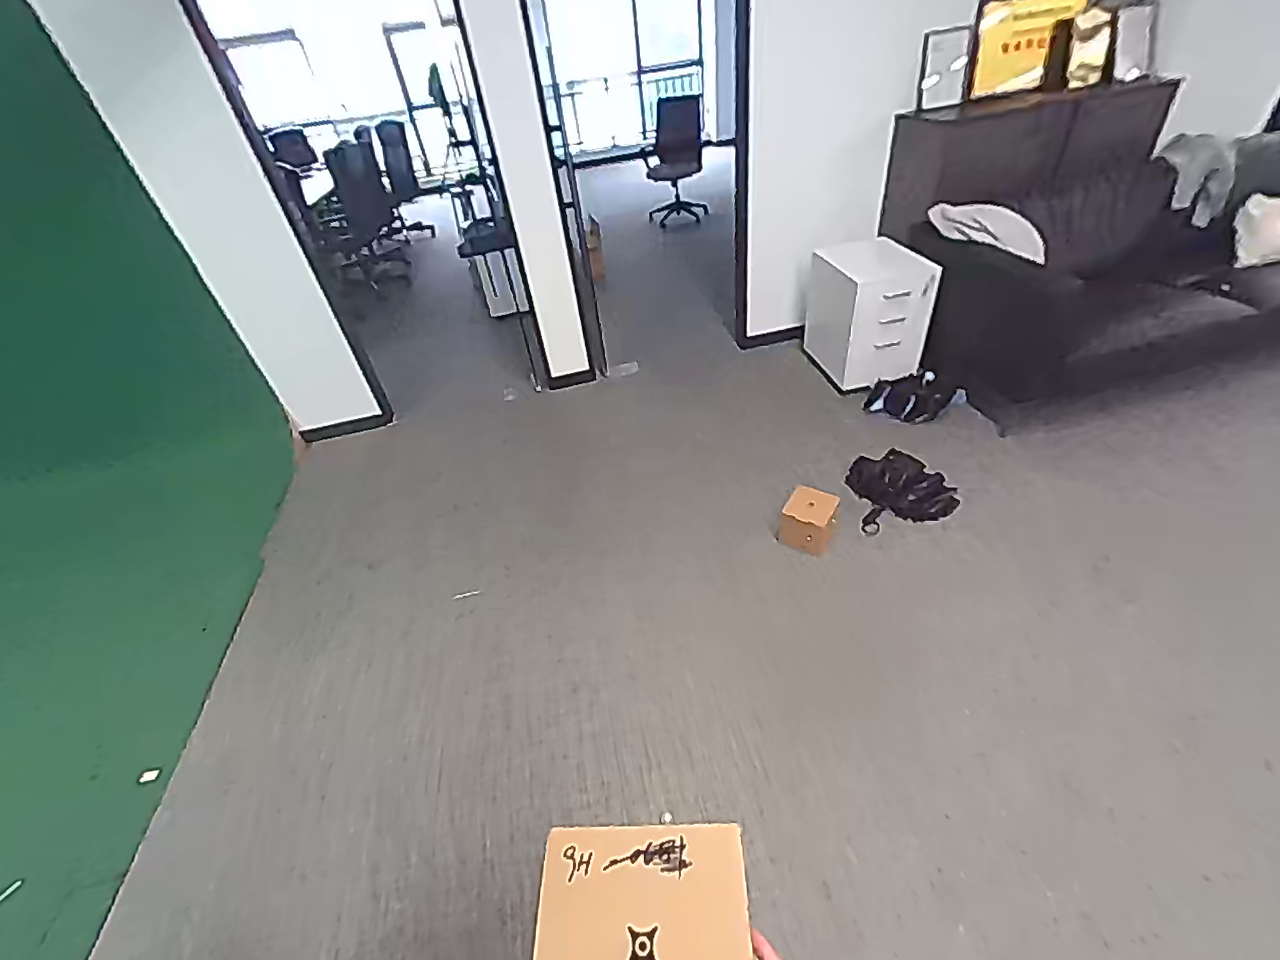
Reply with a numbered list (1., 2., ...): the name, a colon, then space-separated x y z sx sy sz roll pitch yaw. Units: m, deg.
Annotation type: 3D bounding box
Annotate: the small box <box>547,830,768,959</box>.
1. small box: 0.022 0.409 0.445 0.168 0.176 0.179 -5 44 6
